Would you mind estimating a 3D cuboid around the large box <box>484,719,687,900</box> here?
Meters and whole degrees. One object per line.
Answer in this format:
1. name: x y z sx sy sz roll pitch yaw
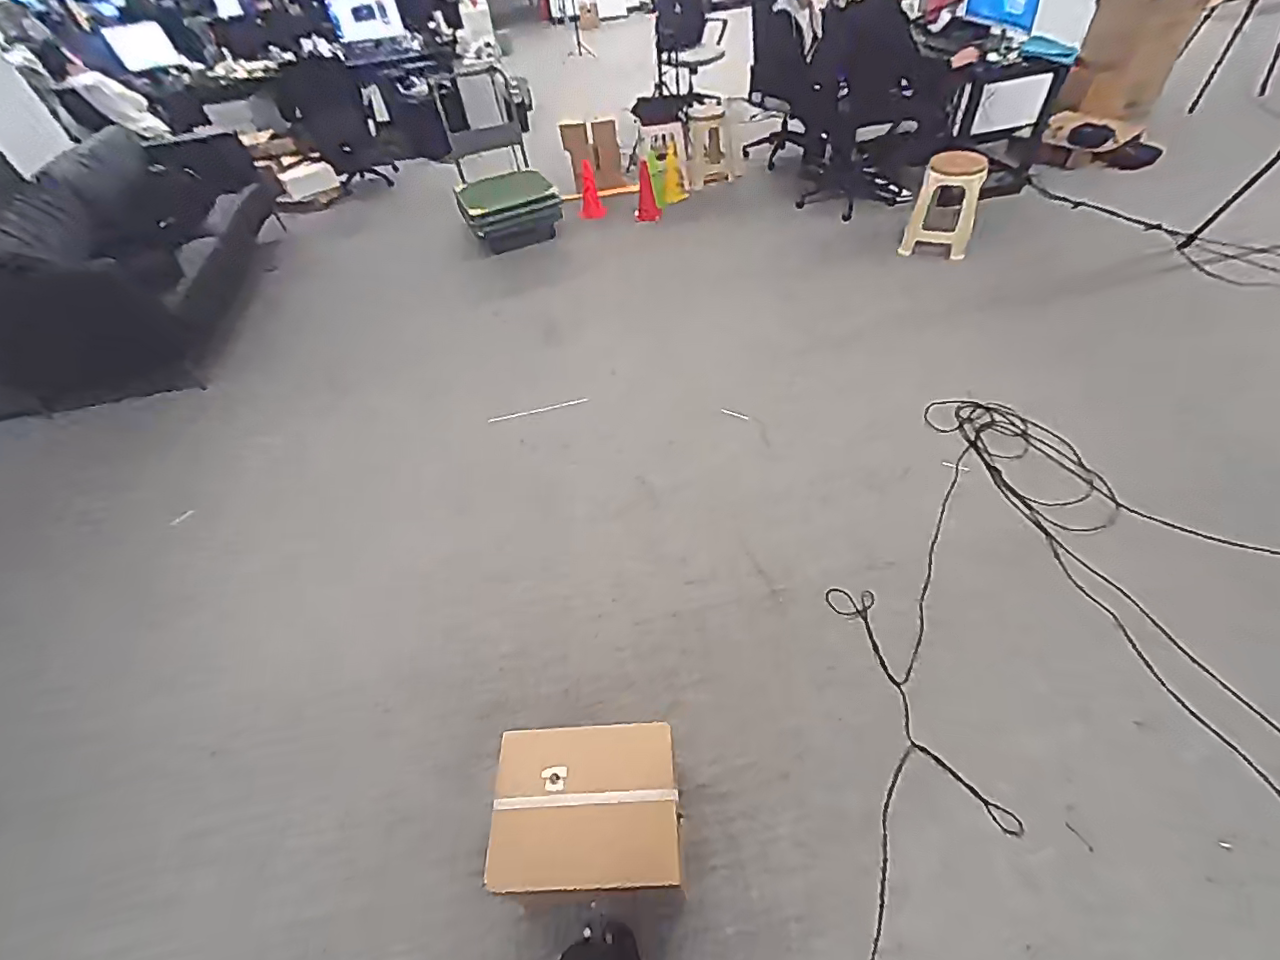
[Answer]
1. large box: -0.107 0.794 1.293 0.408 0.320 0.320 -5 47 4
